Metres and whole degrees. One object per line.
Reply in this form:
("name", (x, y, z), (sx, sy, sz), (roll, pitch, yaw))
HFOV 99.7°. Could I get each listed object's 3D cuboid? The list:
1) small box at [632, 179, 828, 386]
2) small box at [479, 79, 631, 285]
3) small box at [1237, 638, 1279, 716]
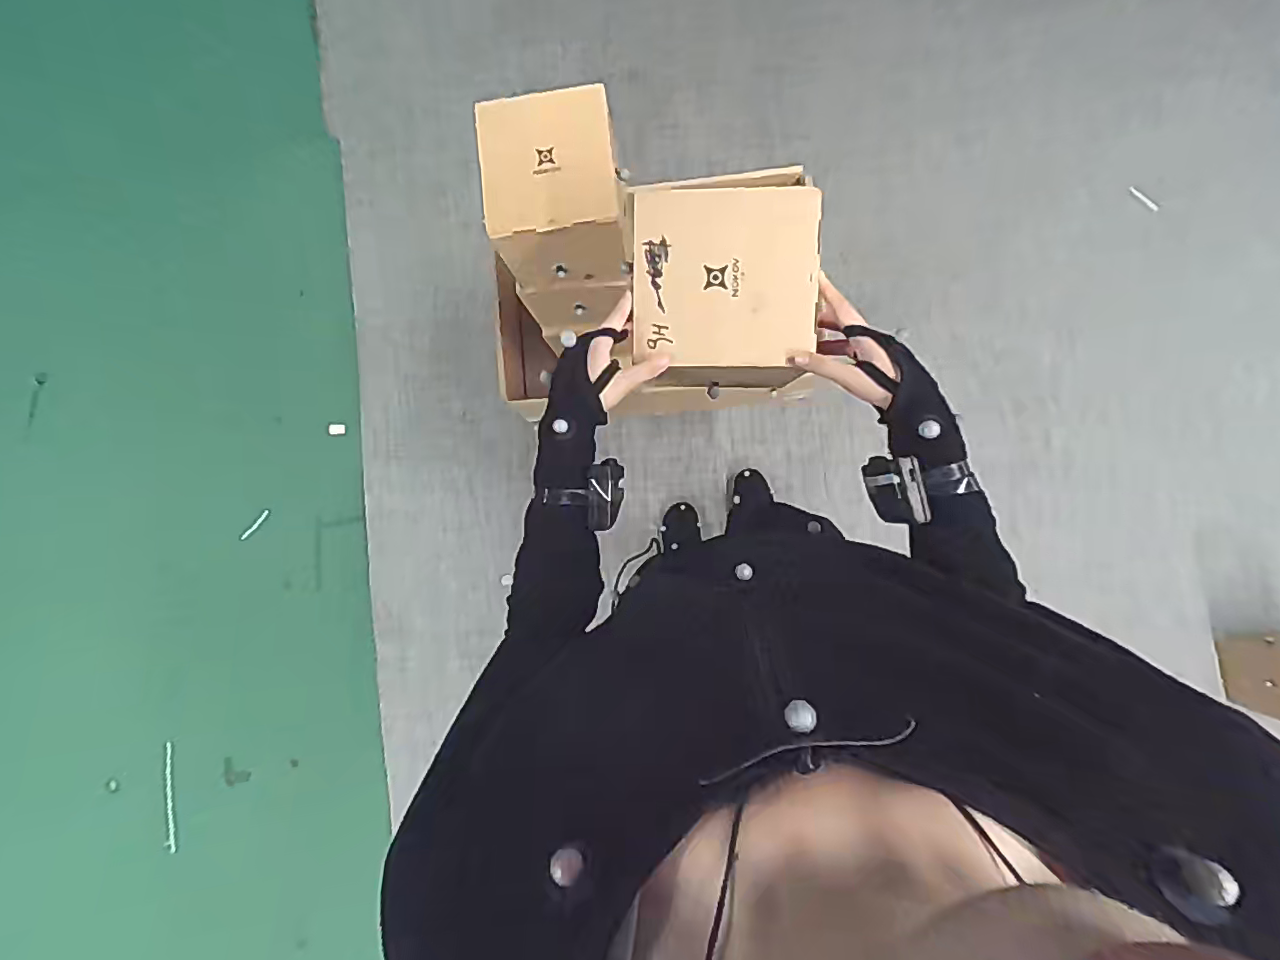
("small box", (0.086, -0.196, 0.578), (0.179, 0.176, 0.168), (2, 91, 4))
("small box", (-0.106, -0.392, 0.738), (0.168, 0.176, 0.179), (-7, 87, 4))
("small box", (1.614, 0.482, 1.304), (0.168, 0.176, 0.179), (-7, 86, 4))
